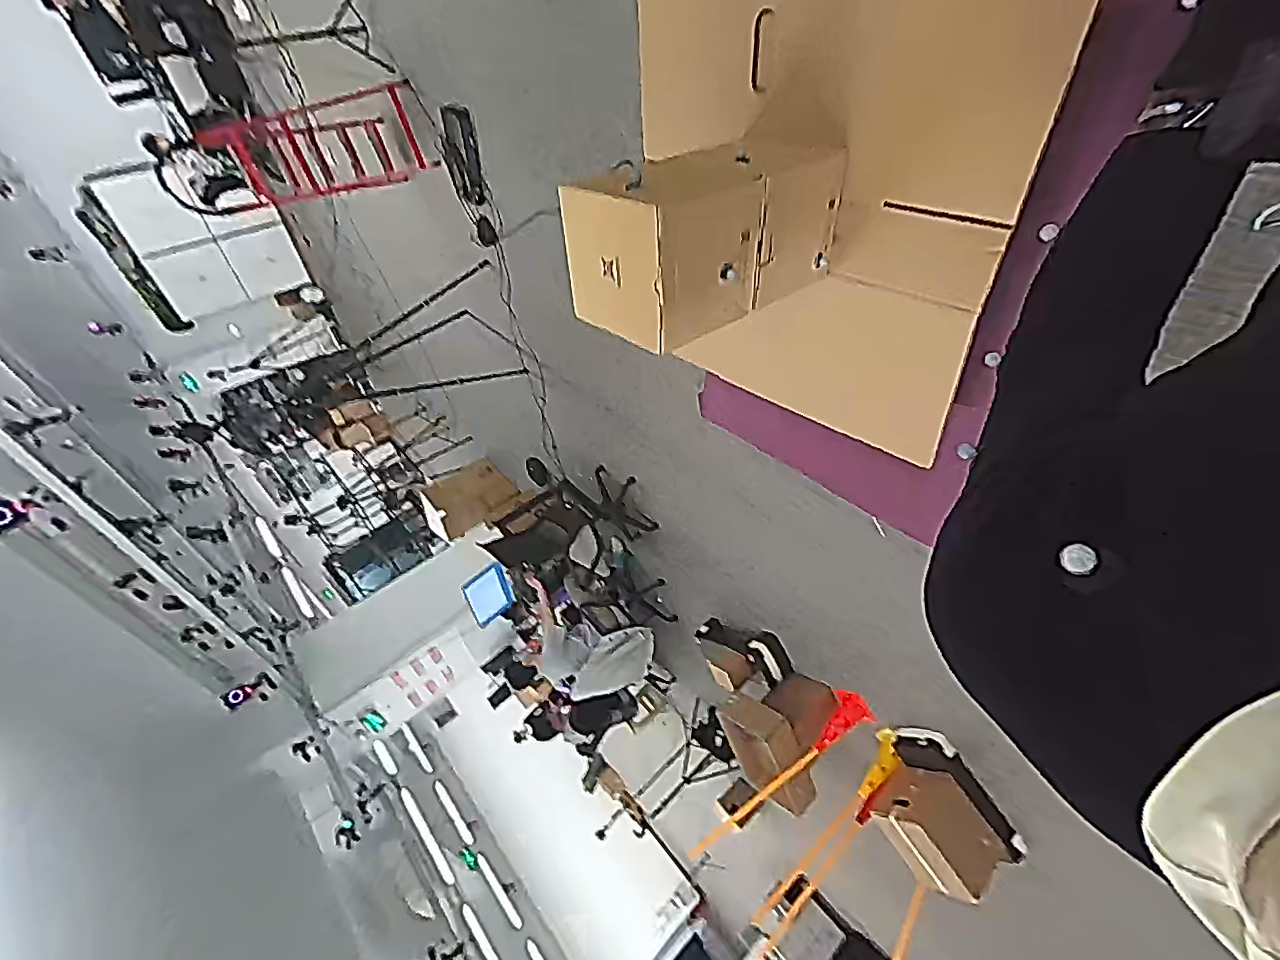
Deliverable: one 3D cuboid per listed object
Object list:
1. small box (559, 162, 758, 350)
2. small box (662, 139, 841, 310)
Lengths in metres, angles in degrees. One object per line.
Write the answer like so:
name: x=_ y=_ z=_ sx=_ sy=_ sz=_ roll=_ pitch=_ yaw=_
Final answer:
small box: x=0.025 y=-0.289 z=0.679 sx=0.179 sy=0.176 sz=0.168 roll=33 pitch=142 yaw=36
small box: x=0.151 y=-0.362 z=0.752 sx=0.179 sy=0.176 sz=0.168 roll=35 pitch=144 yaw=36
